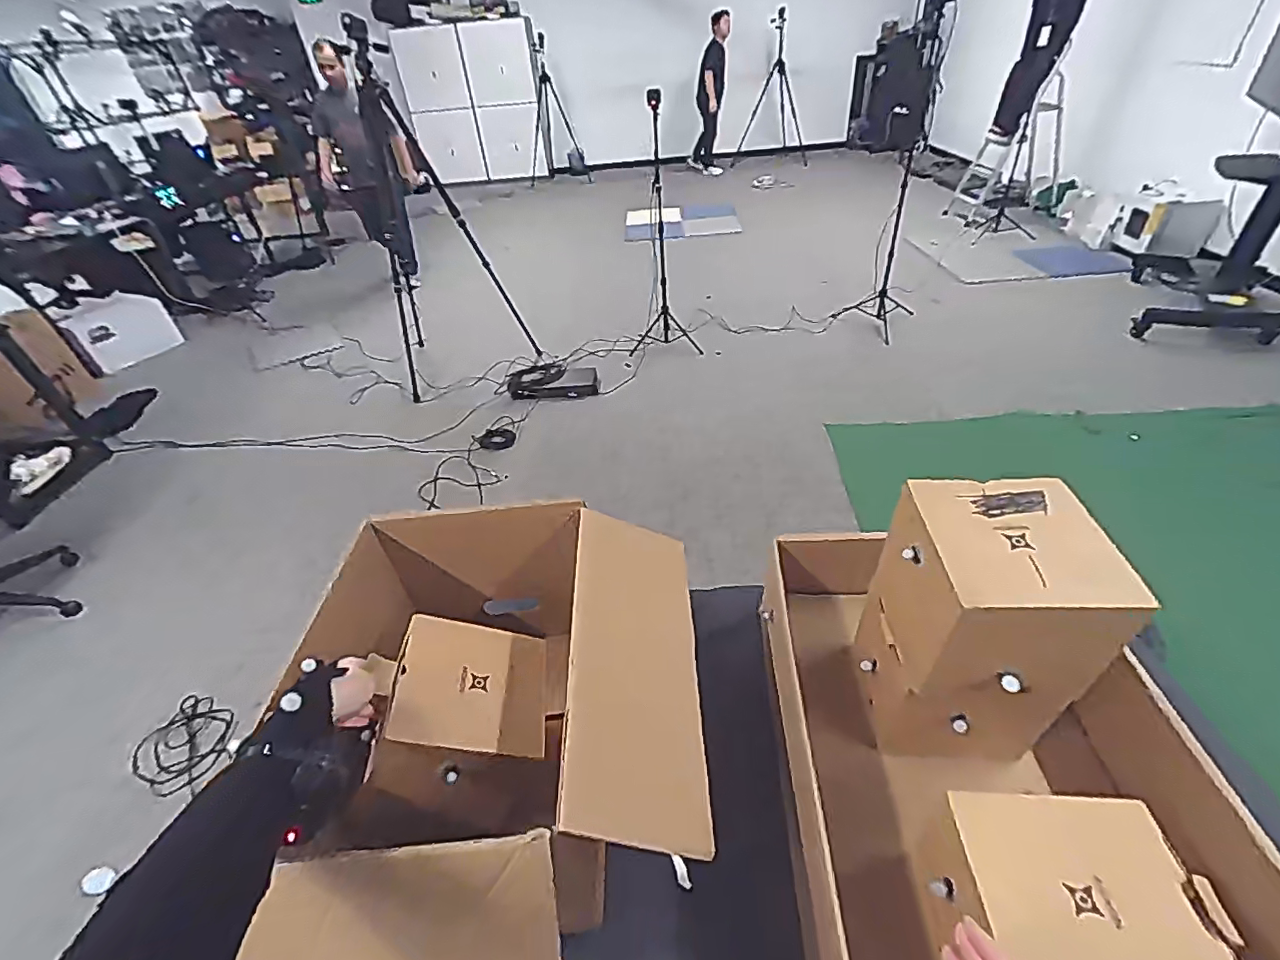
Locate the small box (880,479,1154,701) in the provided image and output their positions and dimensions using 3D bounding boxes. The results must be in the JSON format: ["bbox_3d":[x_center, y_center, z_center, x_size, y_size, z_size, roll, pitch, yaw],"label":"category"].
[{"bbox_3d":[0.381,0.118,0.595,0.168,0.176,0.179,-1,42,6],"label":"small box"}]
